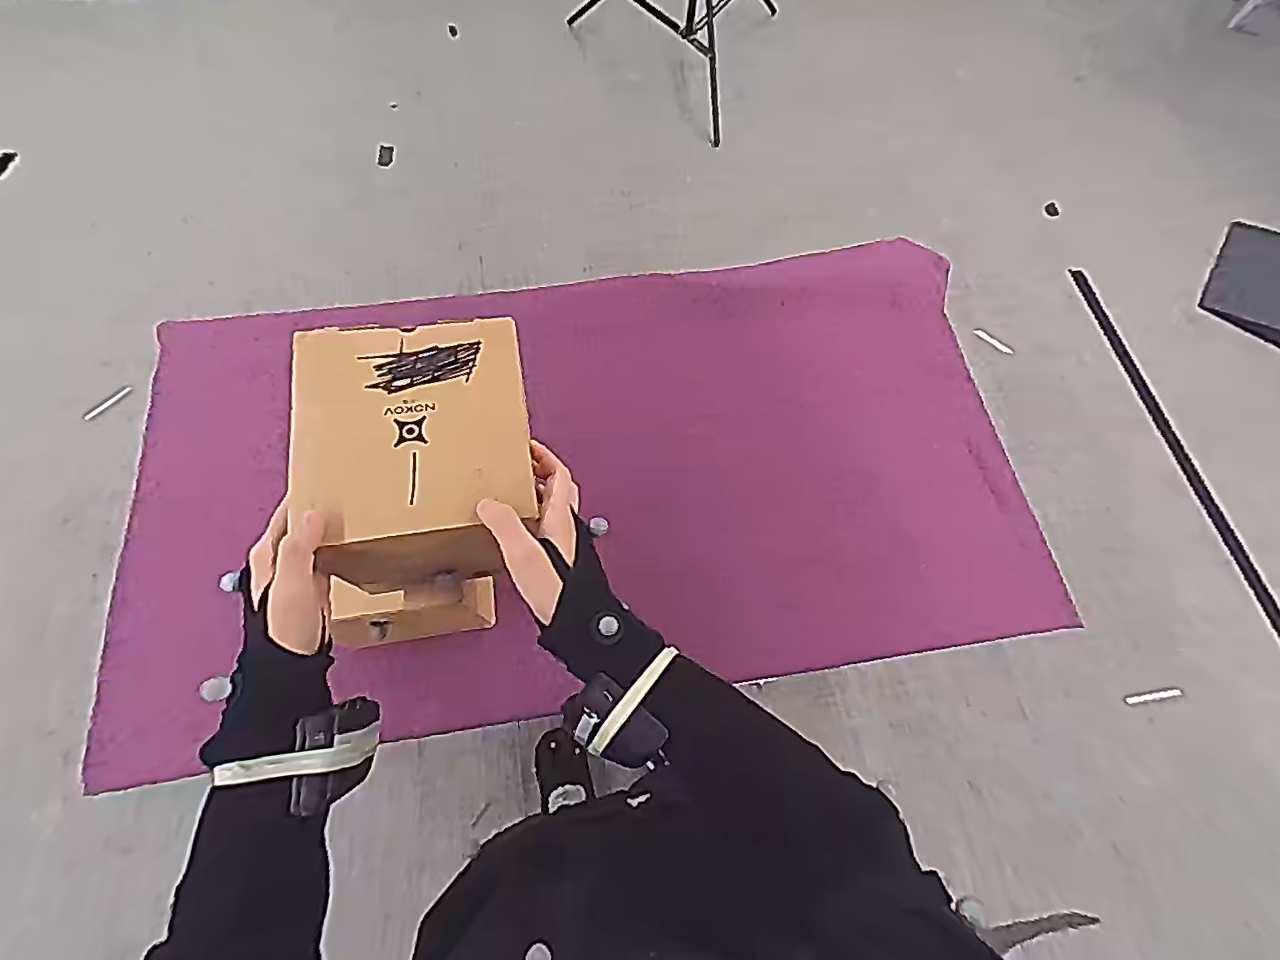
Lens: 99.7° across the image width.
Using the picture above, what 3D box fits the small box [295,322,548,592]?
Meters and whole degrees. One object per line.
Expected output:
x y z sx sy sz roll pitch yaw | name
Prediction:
-0.173 -0.012 0.474 0.168 0.176 0.179 -7 70 -10 | small box

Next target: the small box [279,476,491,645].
-0.276 0.090 0.627 0.179 0.176 0.168 -8 68 -5 | small box
